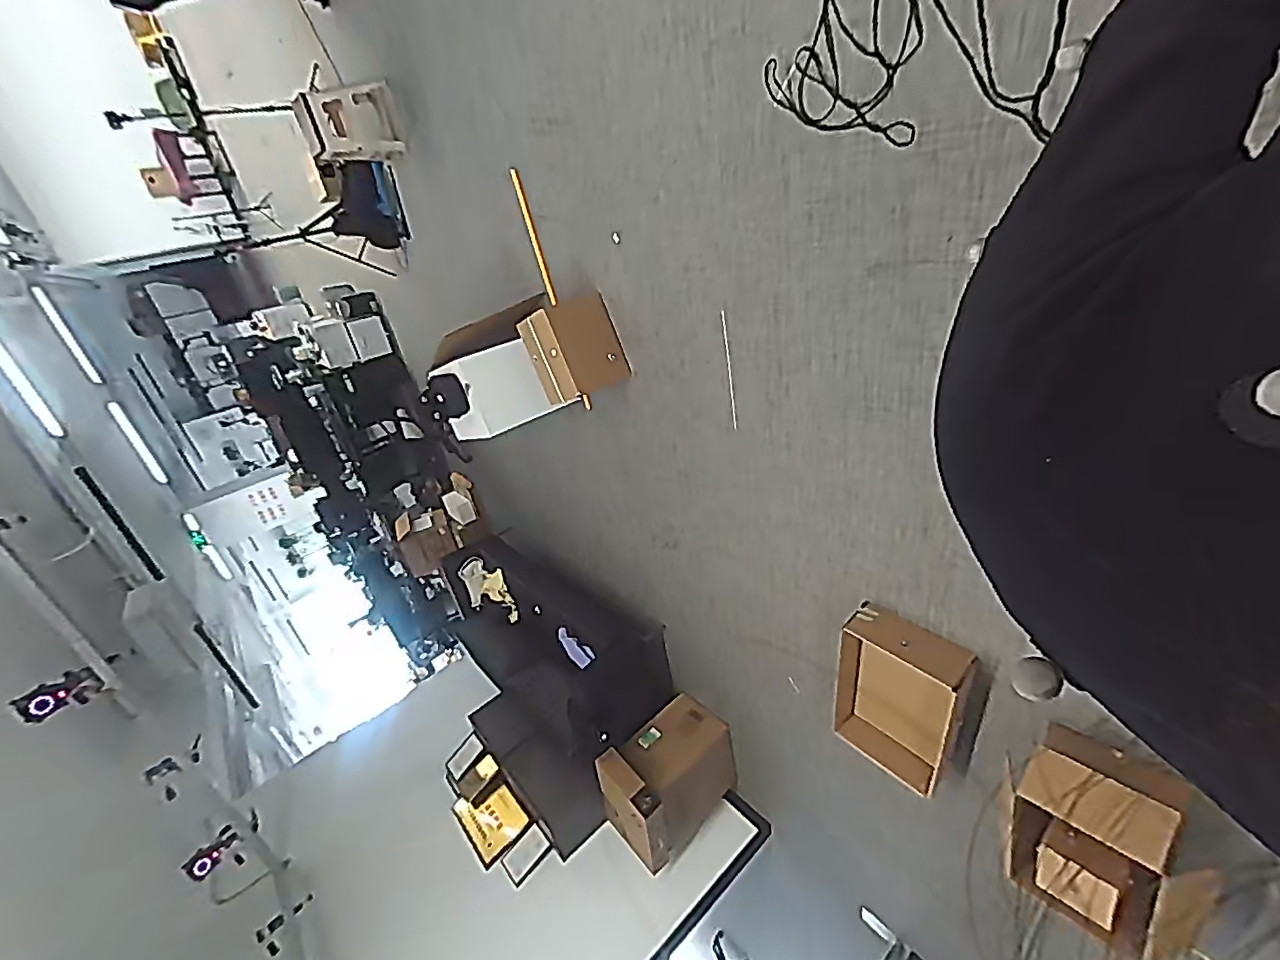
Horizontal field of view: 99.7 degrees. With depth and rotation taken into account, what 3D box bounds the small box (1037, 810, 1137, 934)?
[{"bbox_3d":[1.202,1.042,1.453,0.168,0.176,0.179,17,126,51],"label":"small box"}]
